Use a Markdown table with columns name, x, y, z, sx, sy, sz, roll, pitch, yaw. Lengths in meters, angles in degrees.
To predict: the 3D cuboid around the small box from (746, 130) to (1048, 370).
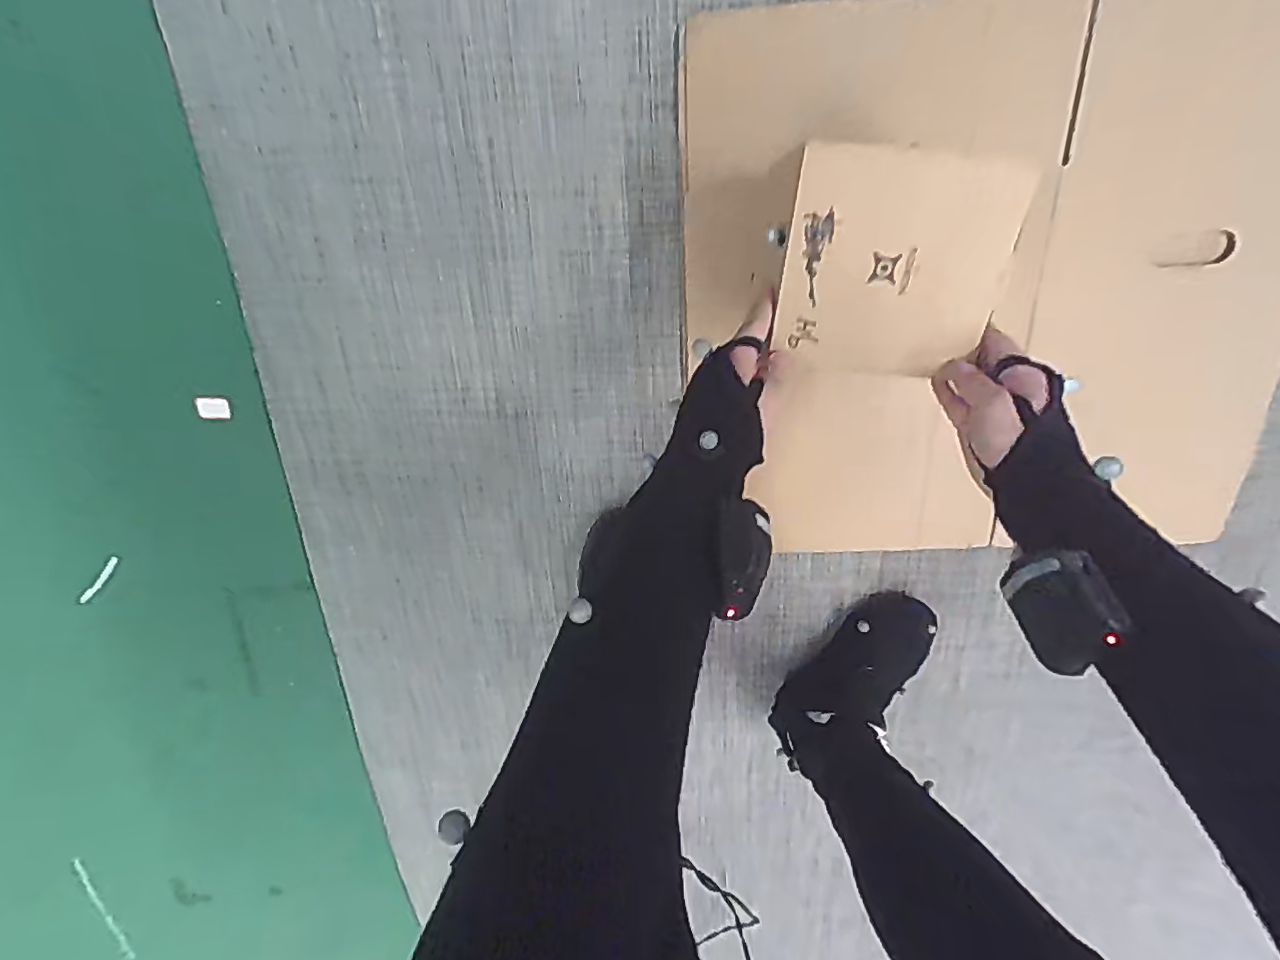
| name | x | y | z | sx | sy | sz | roll | pitch | yaw |
| --- | --- | --- | --- | --- | --- | --- | --- | --- | --- |
| small box | 0.206 | -0.208 | 0.495 | 0.179 | 0.176 | 0.168 | 5 | 116 | 0 |
